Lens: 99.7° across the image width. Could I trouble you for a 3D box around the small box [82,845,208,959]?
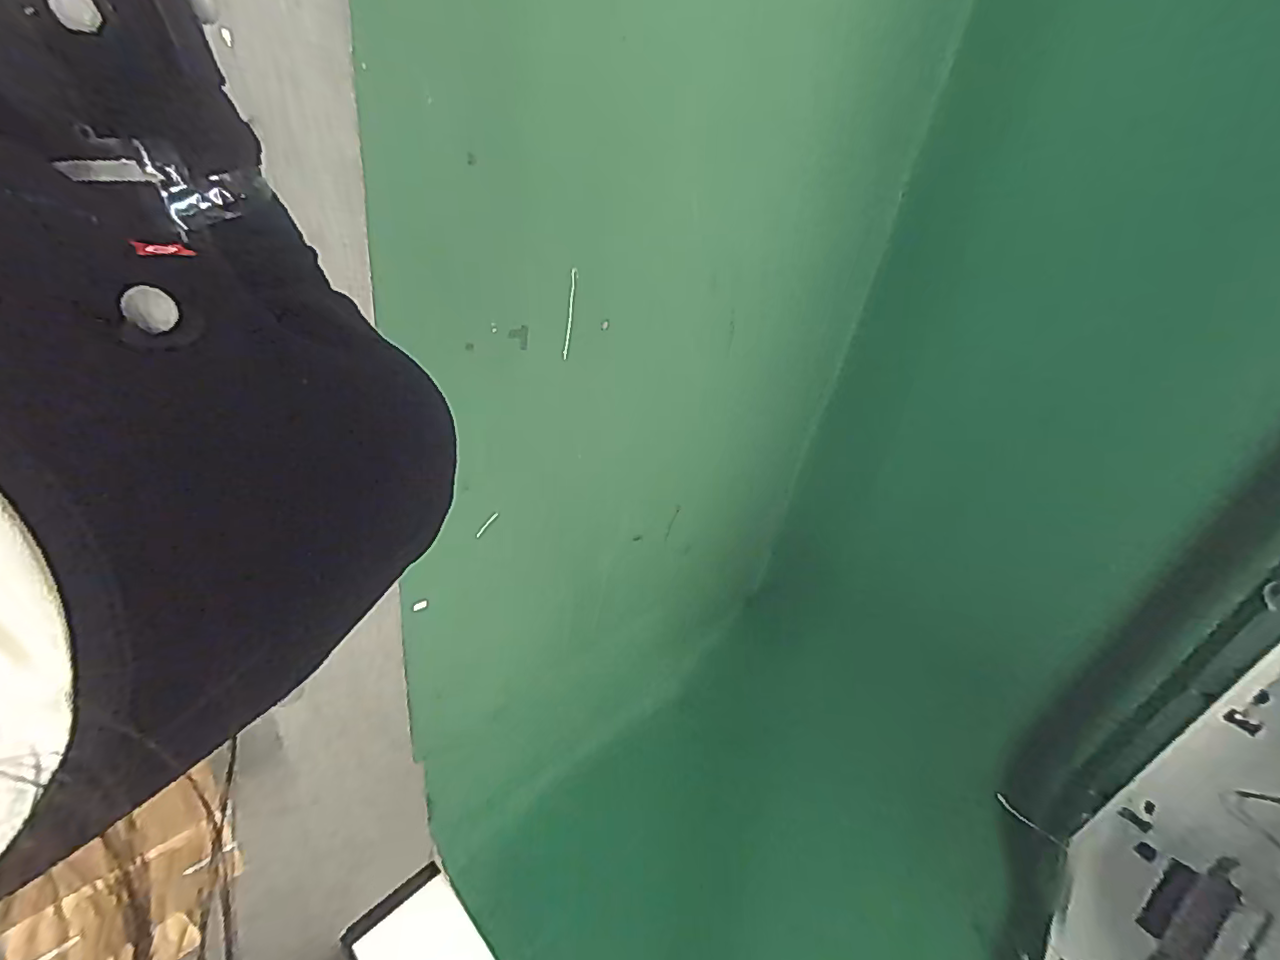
[{"bbox_3d":[-1.176,1.019,1.285,0.168,0.176,0.179,-26,135,-40],"label":"small box"}]
